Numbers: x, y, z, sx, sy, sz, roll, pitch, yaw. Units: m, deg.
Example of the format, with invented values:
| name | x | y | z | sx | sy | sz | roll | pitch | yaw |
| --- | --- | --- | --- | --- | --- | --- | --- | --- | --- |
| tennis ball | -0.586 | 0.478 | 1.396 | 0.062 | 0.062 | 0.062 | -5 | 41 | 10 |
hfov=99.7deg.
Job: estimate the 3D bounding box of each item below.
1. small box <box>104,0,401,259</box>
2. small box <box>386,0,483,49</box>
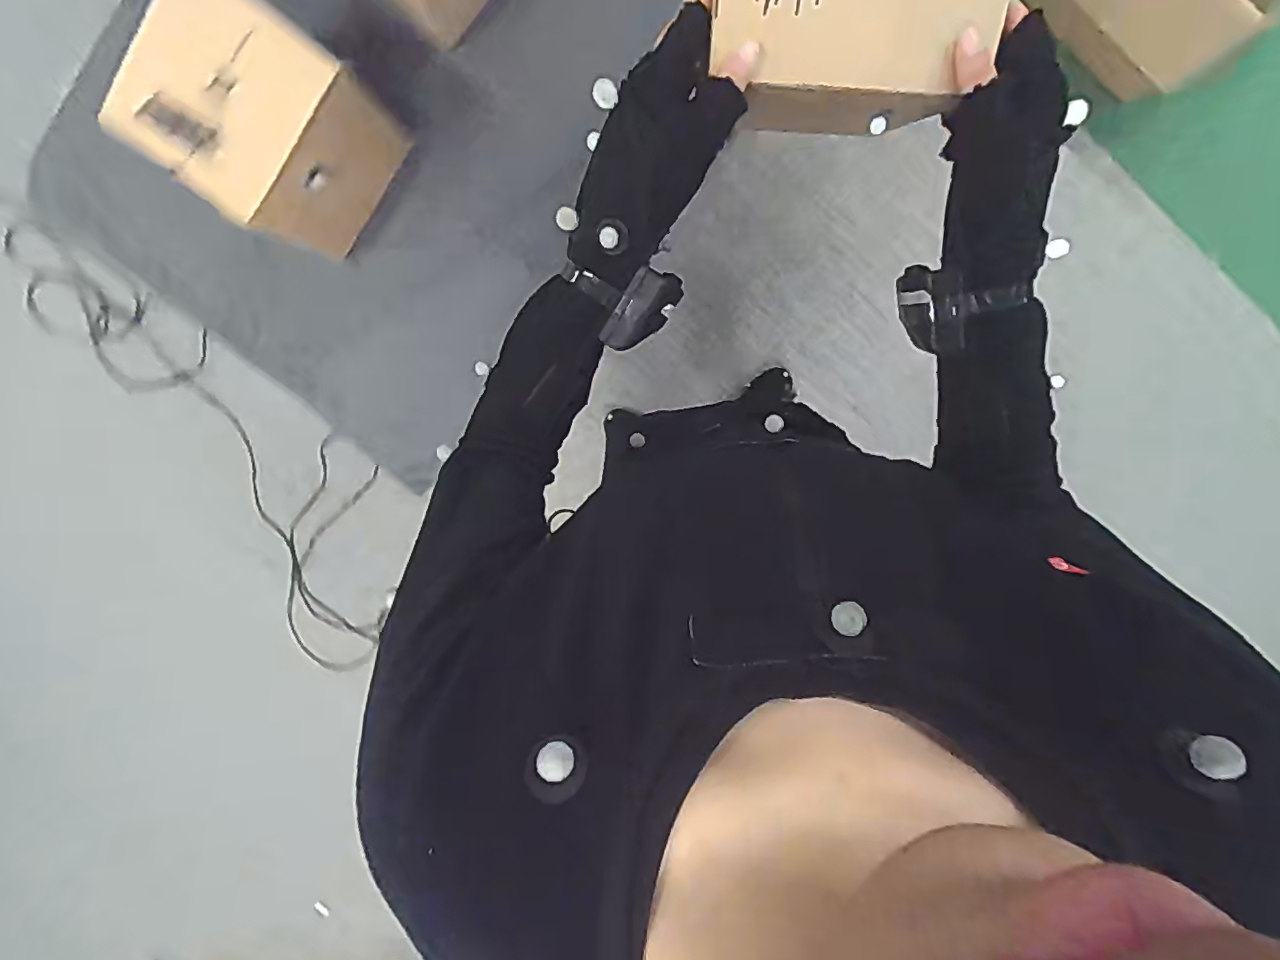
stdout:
| name | x | y | z | sx | sy | sz | roll | pitch | yaw |
| --- | --- | --- | --- | --- | --- | --- | --- | --- | --- |
| small box | -0.399 | -0.372 | 0.590 | 0.168 | 0.176 | 0.179 | 36 | 99 | -6 |
| small box | -0.235 | -0.603 | 0.539 | 0.168 | 0.176 | 0.179 | 42 | 99 | -6 |
